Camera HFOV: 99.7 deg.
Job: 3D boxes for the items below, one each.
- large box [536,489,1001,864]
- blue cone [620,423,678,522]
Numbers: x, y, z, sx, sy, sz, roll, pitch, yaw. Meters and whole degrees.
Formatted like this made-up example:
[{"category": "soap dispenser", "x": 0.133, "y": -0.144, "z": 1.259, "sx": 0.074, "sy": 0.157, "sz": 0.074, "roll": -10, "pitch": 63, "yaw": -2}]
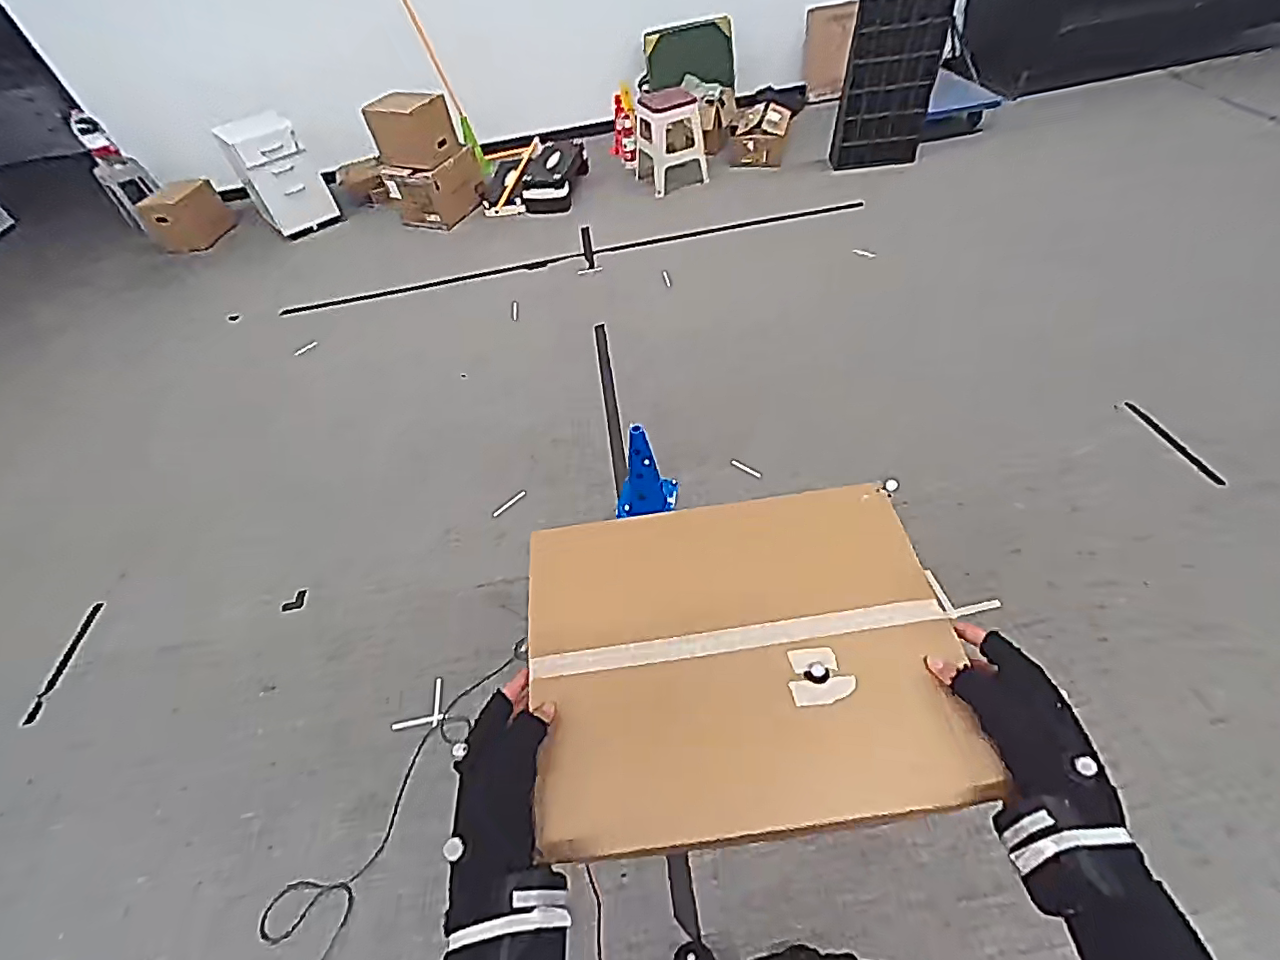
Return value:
[{"category": "large box", "x": 0.105, "y": 0.250, "z": 0.660, "sx": 0.408, "sy": 0.320, "sz": 0.320, "roll": -8, "pitch": 54, "yaw": 1}, {"category": "blue cone", "x": 0.013, "y": -0.036, "z": 1.783, "sx": 0.193, "sy": 0.380, "sz": 0.192, "roll": 6, "pitch": 51, "yaw": 13}]
